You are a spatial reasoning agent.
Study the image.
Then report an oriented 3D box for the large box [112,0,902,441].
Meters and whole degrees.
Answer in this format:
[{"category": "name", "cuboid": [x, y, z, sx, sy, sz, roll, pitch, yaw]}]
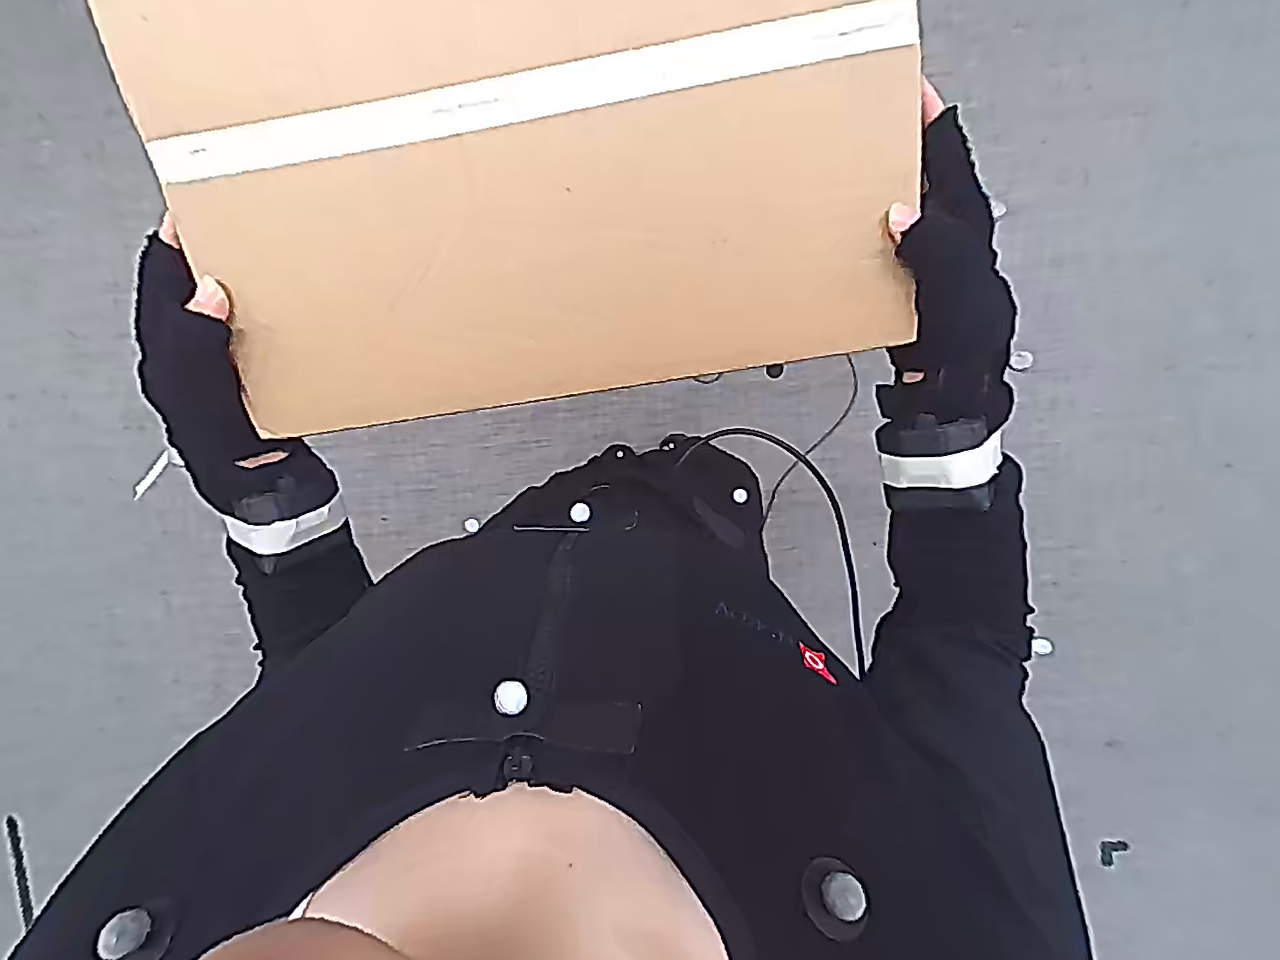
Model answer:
[{"category": "large box", "cuboid": [-0.058, -0.246, 0.433, 0.408, 0.320, 0.320, -8, 107, 4]}]
